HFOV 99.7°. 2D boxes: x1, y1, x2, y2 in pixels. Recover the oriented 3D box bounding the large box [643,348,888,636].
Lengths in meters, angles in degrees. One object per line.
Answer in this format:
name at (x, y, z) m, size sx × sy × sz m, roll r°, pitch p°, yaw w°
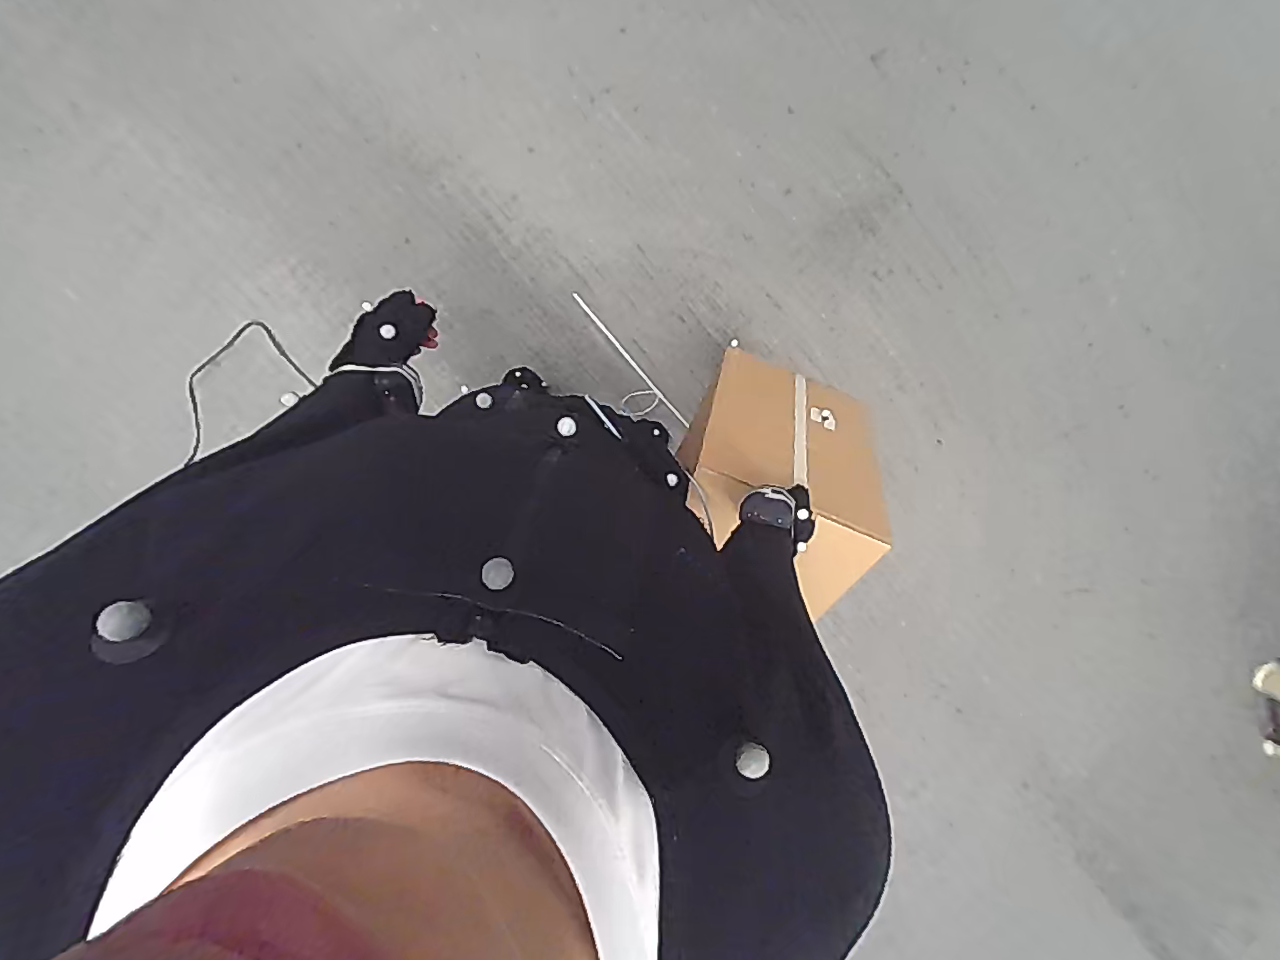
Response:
large box at (0.225, 0.016, 1.043) m, size 0.320 × 0.408 × 0.320 m, roll 23°, pitch 131°, yaw -3°
